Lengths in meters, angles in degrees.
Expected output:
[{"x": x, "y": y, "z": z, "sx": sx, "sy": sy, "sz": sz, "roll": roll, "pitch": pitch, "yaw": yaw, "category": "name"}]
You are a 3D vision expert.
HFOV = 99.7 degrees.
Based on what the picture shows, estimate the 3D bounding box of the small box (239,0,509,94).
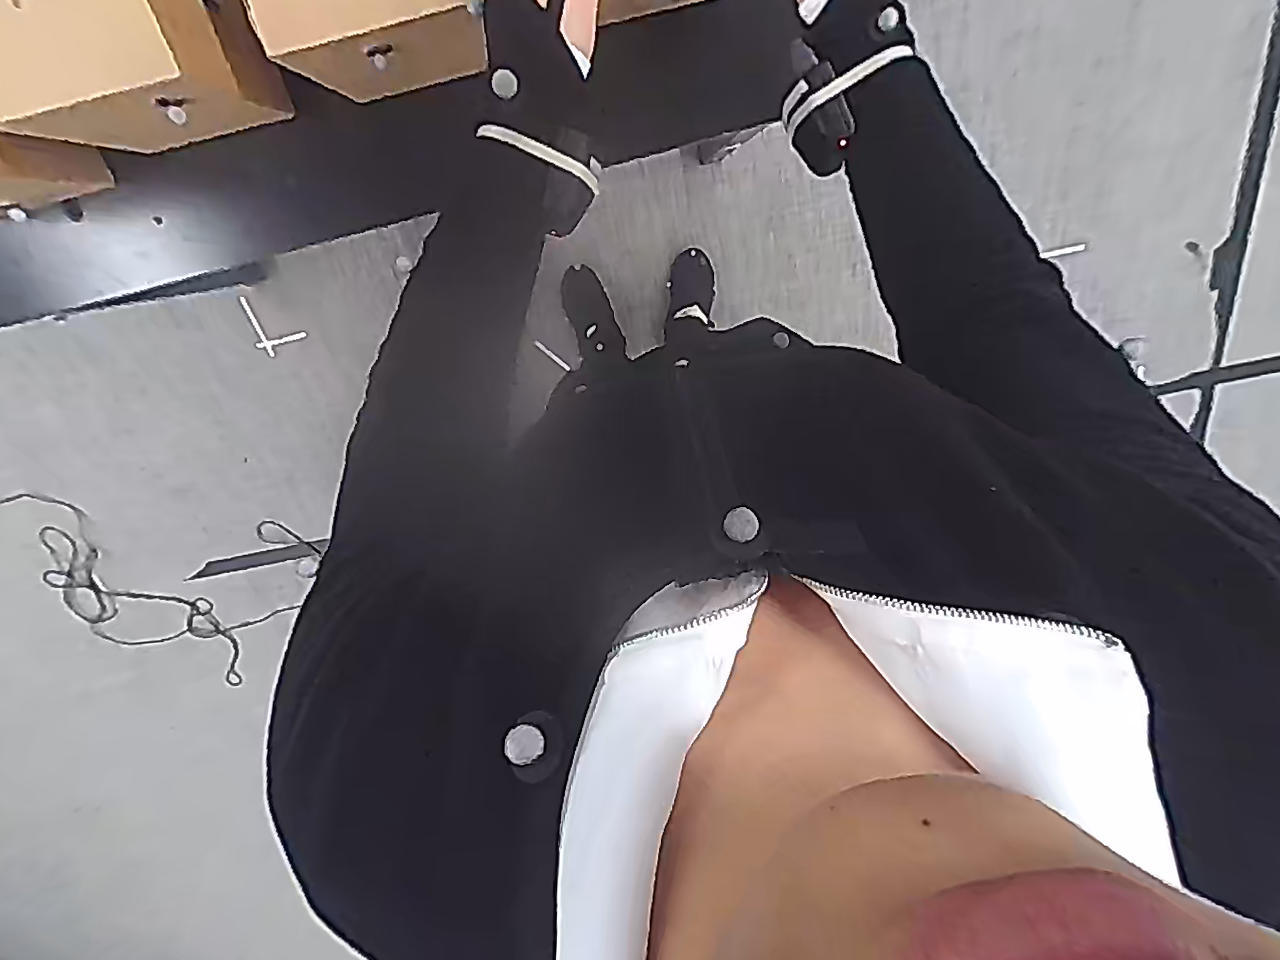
[{"x": -0.229, "y": -0.454, "z": 0.454, "sx": 0.179, "sy": 0.176, "sz": 0.168, "roll": -12, "pitch": 115, "yaw": 3, "category": "small box"}]

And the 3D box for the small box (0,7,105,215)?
[{"x": -0.677, "y": -0.351, "z": 0.492, "sx": 0.168, "sy": 0.176, "sz": 0.179, "roll": -12, "pitch": 116, "yaw": 6, "category": "small box"}]

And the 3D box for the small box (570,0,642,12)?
[{"x": -0.002, "y": -0.513, "z": 0.430, "sx": 0.168, "sy": 0.176, "sz": 0.179, "roll": -11, "pitch": 115, "yaw": 3, "category": "small box"}]
